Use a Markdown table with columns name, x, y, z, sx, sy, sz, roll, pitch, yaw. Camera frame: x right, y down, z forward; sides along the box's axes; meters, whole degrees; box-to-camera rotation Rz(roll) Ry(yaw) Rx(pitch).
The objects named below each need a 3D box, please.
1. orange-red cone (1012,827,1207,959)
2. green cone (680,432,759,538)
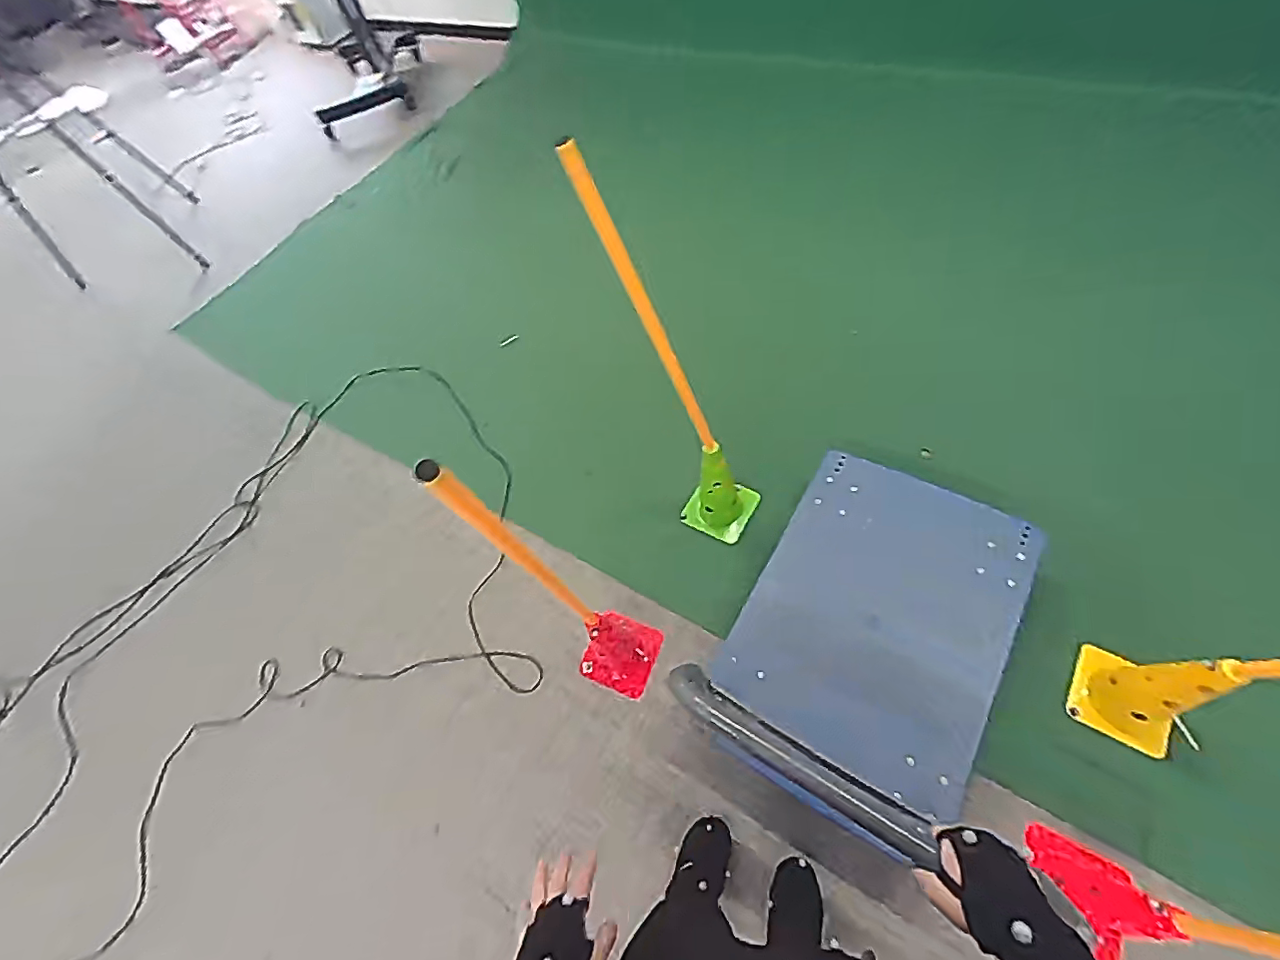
| name | x | y | z | sx | sy | sz | roll | pitch | yaw |
| --- | --- | --- | --- | --- | --- | --- | --- | --- | --- |
| orange-red cone | 0.879 | 0.784 | 0.985 | 0.198 | 0.360 | 0.199 | 25 | 66 | 22 |
| green cone | 0.226 | -0.014 | 1.578 | 0.200 | 0.368 | 0.202 | 24 | 66 | 24 |
